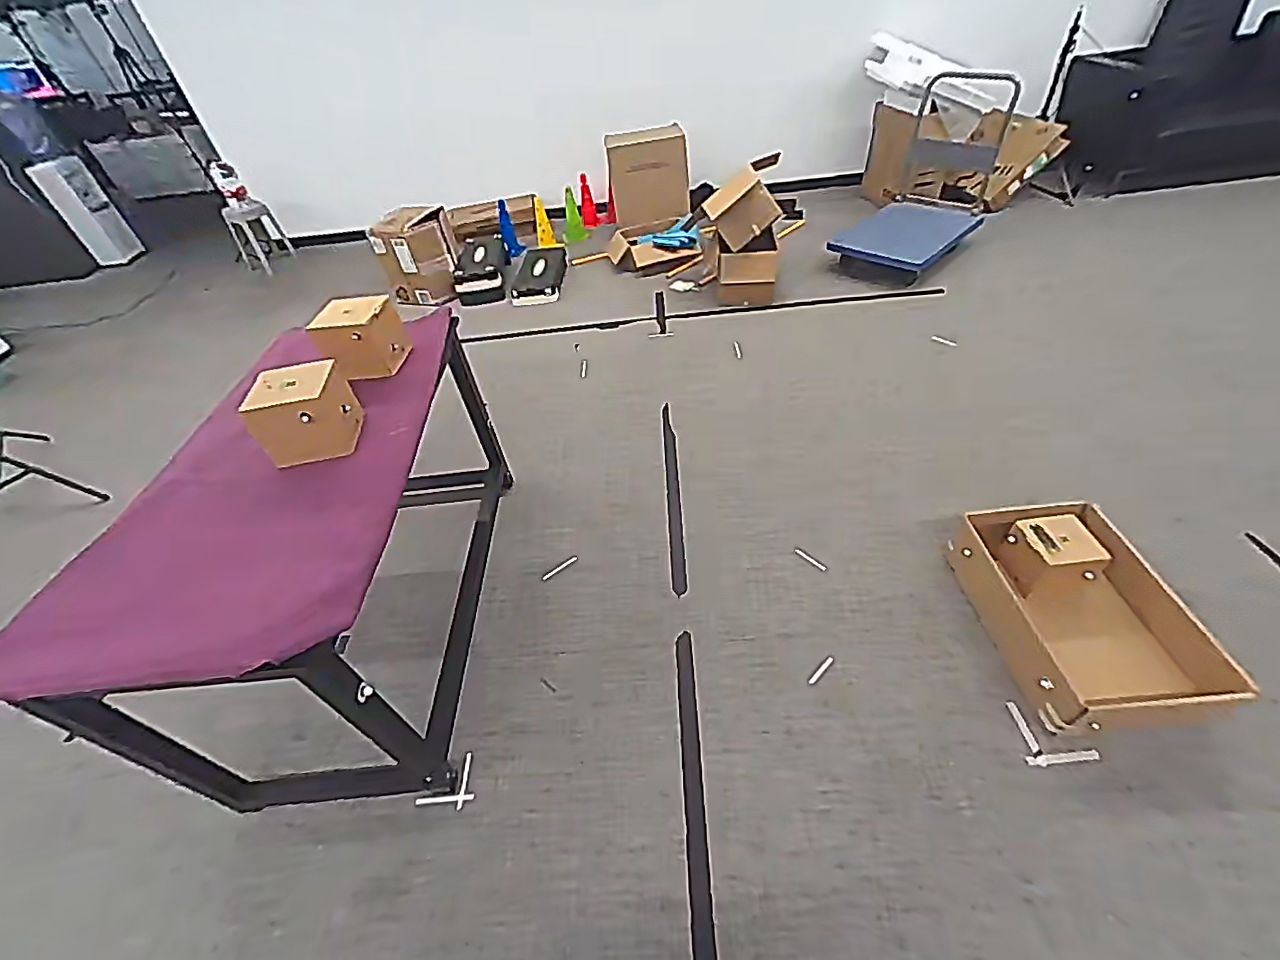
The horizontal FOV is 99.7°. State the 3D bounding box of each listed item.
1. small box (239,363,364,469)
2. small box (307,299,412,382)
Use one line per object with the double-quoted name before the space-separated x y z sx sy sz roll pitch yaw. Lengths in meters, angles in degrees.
"small box" -0.785 -0.149 1.280 0.179 0.176 0.168 -12 43 -3
"small box" -0.783 -0.390 1.528 0.179 0.176 0.168 -3 44 7
